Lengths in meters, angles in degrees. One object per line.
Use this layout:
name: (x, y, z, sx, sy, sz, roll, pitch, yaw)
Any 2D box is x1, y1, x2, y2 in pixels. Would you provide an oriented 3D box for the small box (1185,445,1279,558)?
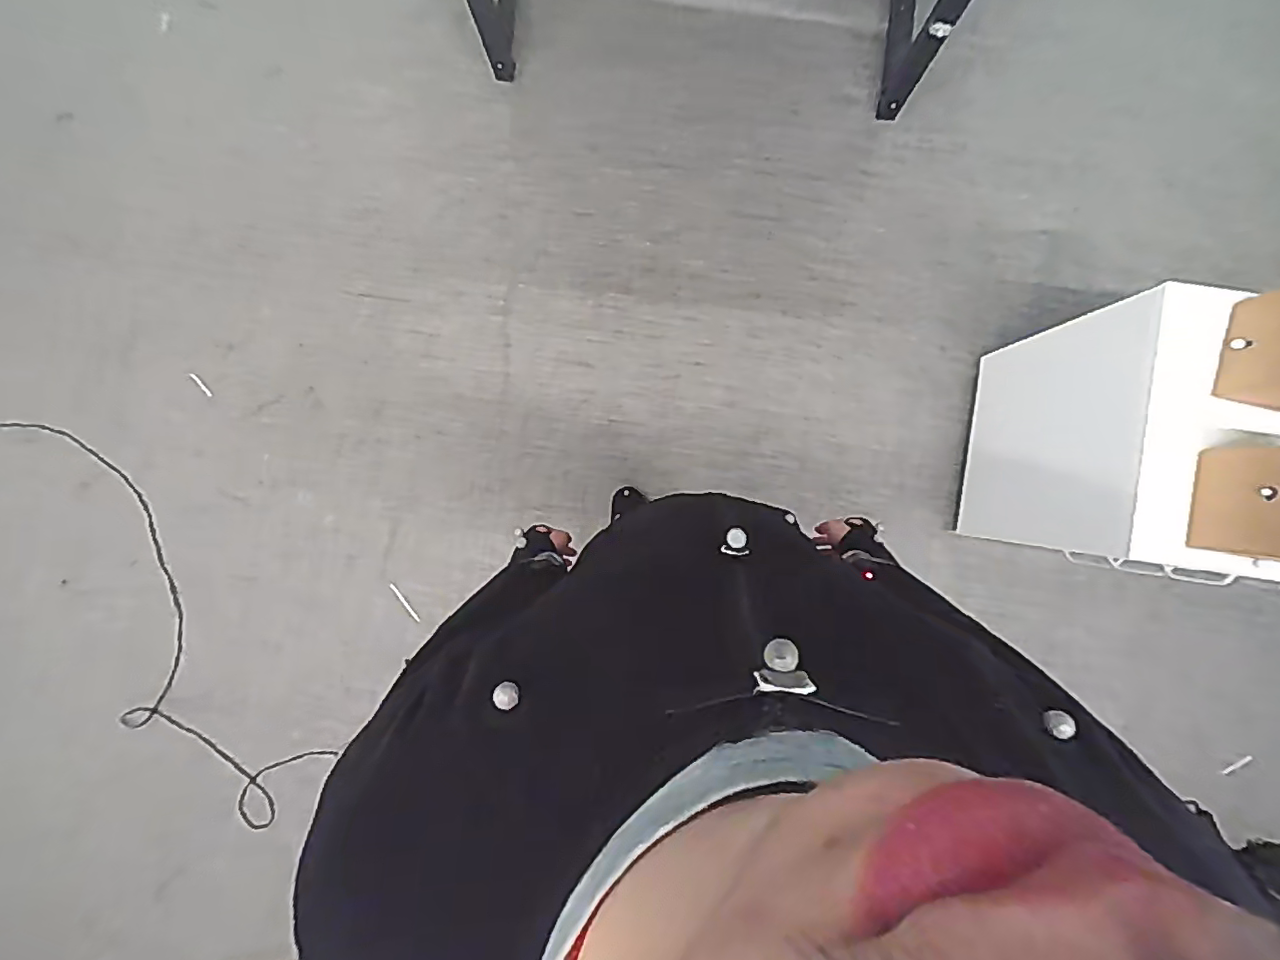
small box: (1.067, 0.038, 0.895, 0.168, 0.176, 0.179, 8, 88, 0)
